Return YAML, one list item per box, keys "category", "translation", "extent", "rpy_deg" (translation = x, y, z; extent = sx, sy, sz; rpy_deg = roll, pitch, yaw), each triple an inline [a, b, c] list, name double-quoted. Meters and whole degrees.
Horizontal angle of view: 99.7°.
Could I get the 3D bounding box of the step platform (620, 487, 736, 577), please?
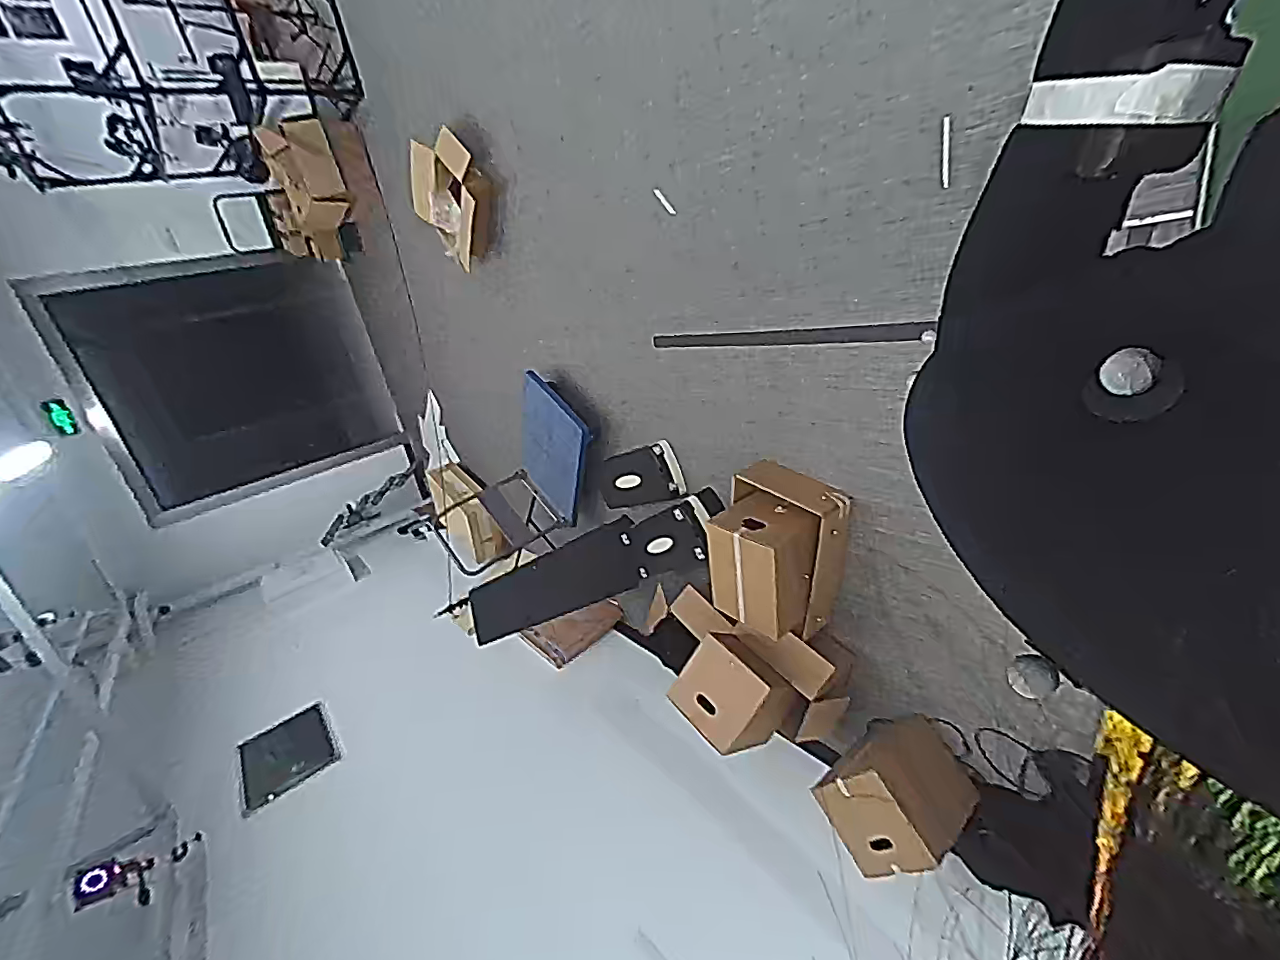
- category: "step platform"
  translation: [0.160, 0.272, 2.651]
  extent: [0.286, 0.204, 0.684]
  rpy_deg: [62, 147, 3]
